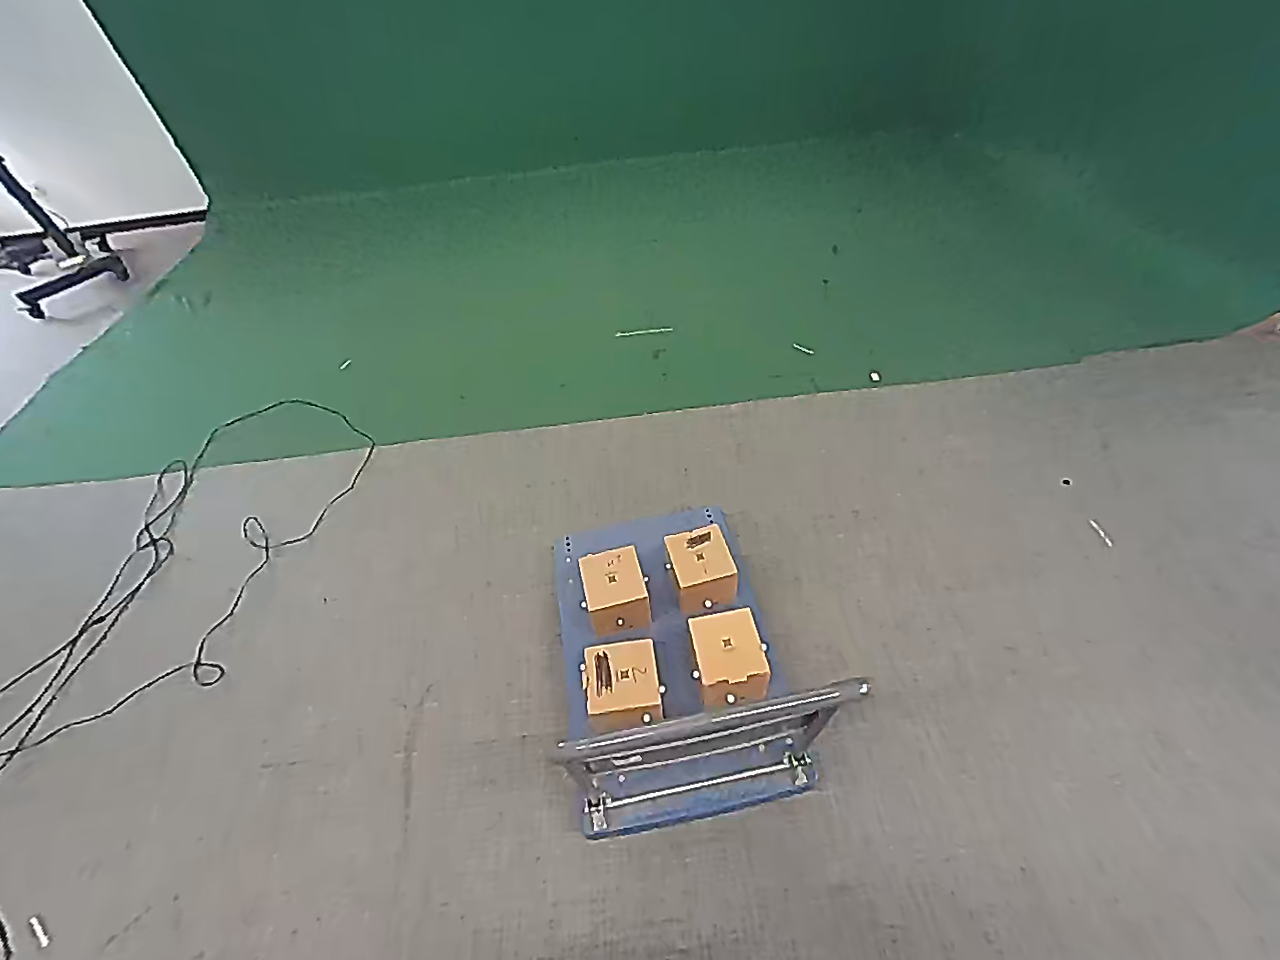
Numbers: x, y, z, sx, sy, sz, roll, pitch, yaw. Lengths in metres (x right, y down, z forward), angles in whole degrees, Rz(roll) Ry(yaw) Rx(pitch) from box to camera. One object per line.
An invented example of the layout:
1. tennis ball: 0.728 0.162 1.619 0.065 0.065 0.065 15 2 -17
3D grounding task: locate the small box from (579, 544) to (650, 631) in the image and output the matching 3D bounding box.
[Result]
1. small box: -0.071 0.314 1.548 0.168 0.176 0.179 -12 49 -6

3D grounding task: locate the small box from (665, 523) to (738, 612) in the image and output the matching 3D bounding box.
1. small box: 0.174 0.255 1.573 0.168 0.176 0.179 -14 50 -5

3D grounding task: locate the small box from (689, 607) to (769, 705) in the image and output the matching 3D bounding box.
1. small box: 0.221 0.456 1.398 0.168 0.176 0.179 -9 50 -3
